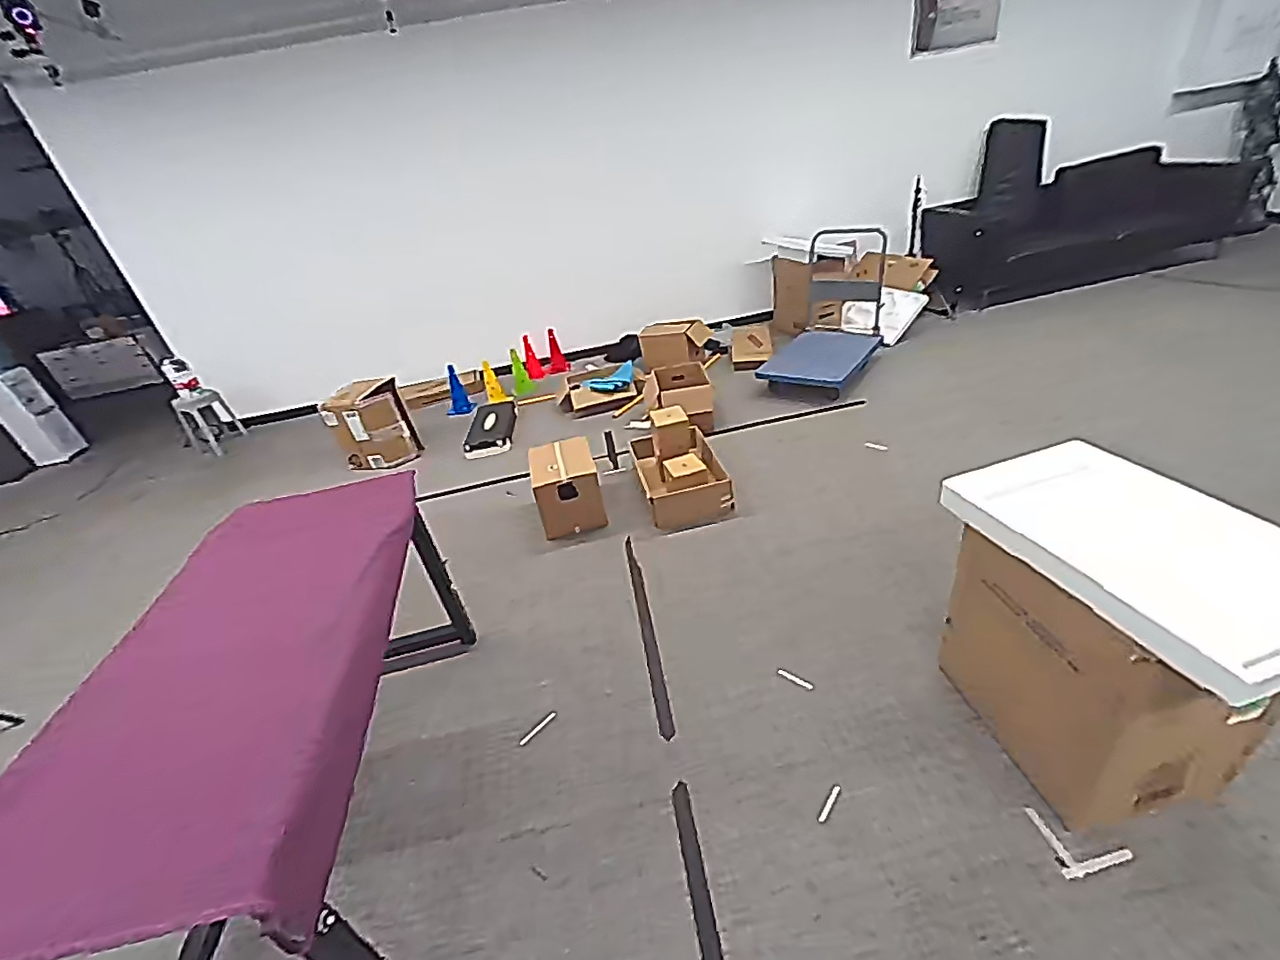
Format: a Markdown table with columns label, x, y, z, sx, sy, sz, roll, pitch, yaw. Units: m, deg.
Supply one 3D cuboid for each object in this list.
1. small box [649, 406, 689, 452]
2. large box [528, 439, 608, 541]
| label | x | y | z | sx | sy | sz | roll | pitch | yaw |
| --- | --- | --- | --- | --- | --- | --- | --- | --- | --- |
| small box | 0.150 | -0.255 | 2.782 | 0.168 | 0.176 | 0.179 | -12 | 33 | -6 |
| large box | -0.366 | 0.041 | 2.733 | 0.320 | 0.320 | 0.408 | -15 | 33 | -6 |
